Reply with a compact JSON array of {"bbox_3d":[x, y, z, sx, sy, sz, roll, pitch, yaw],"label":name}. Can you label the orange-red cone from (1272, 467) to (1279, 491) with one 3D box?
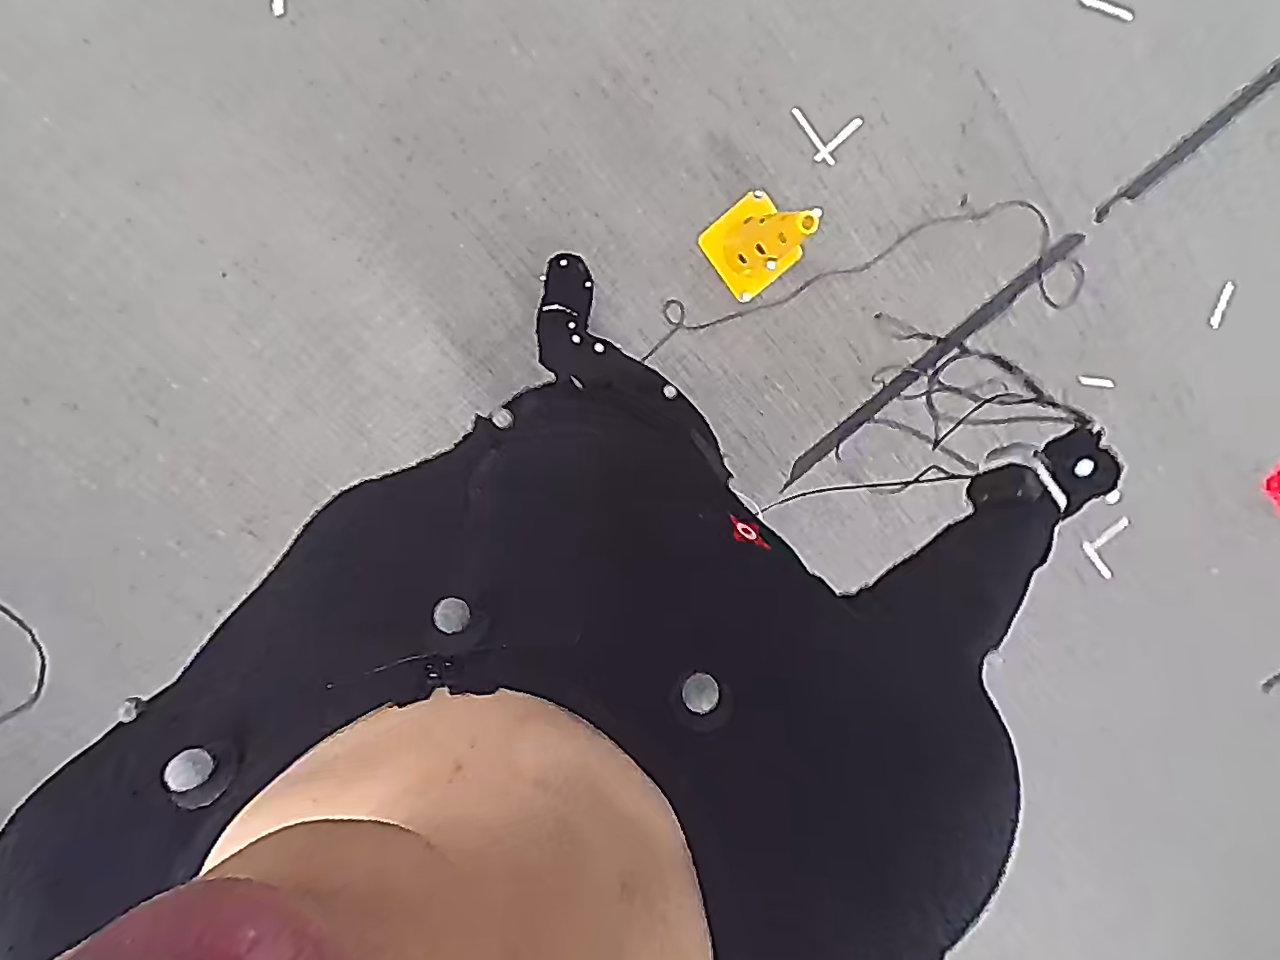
[{"bbox_3d":[2.113,0.027,1.532,0.198,0.360,0.199,42,97,-16],"label":"orange-red cone"}]
